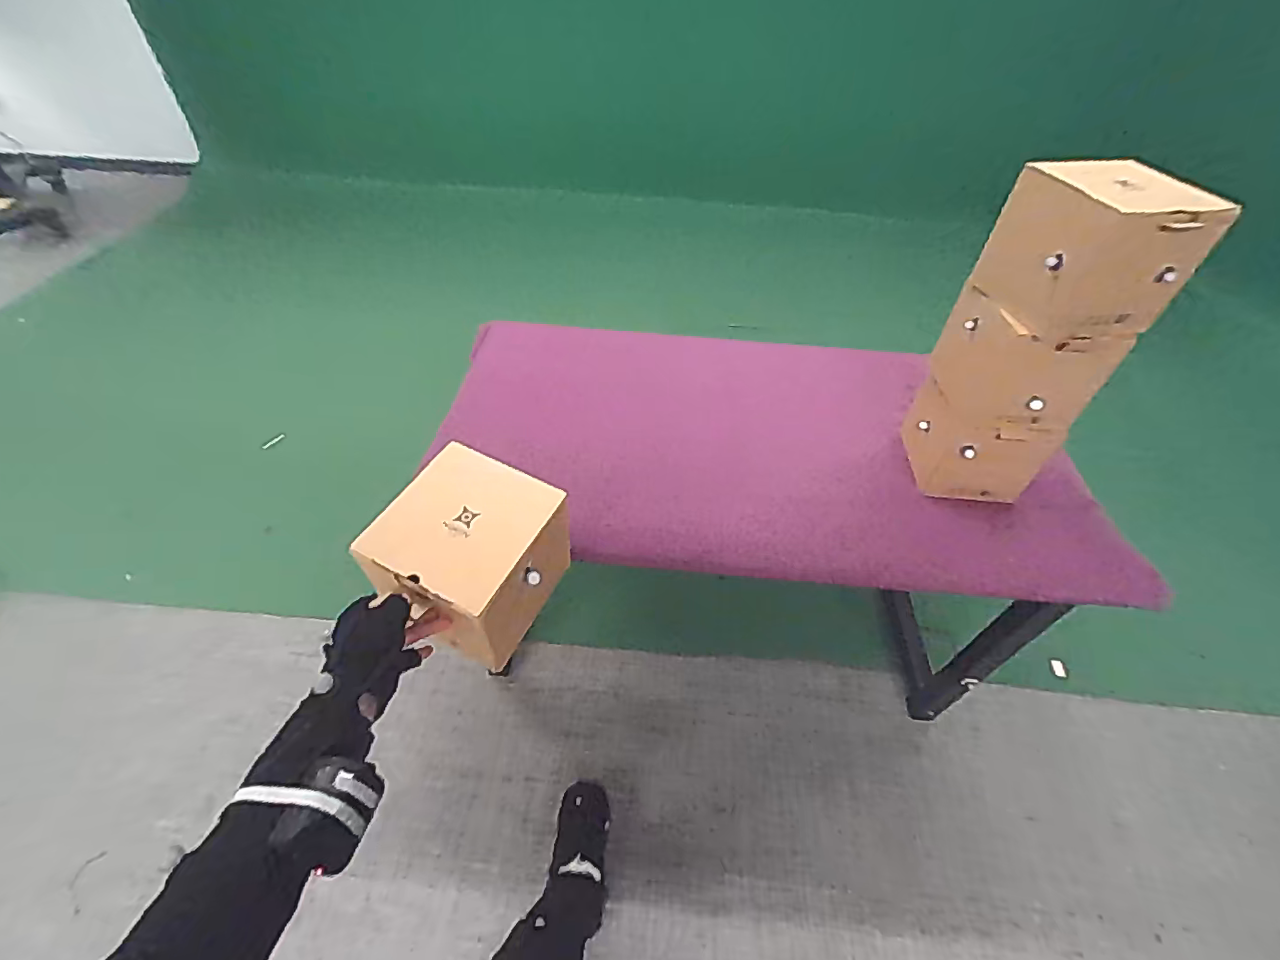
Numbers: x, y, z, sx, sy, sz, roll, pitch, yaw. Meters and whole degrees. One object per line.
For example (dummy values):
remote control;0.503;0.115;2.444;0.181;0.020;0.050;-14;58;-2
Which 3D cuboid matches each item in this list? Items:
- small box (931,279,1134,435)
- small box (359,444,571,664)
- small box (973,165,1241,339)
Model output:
small box;0.593;-0.194;0.851;0.168;0.176;0.179;2;48;1
small box;-0.199;0.094;0.670;0.168;0.176;0.179;24;55;11
small box;0.604;-0.303;0.731;0.168;0.176;0.179;-5;48;-8
